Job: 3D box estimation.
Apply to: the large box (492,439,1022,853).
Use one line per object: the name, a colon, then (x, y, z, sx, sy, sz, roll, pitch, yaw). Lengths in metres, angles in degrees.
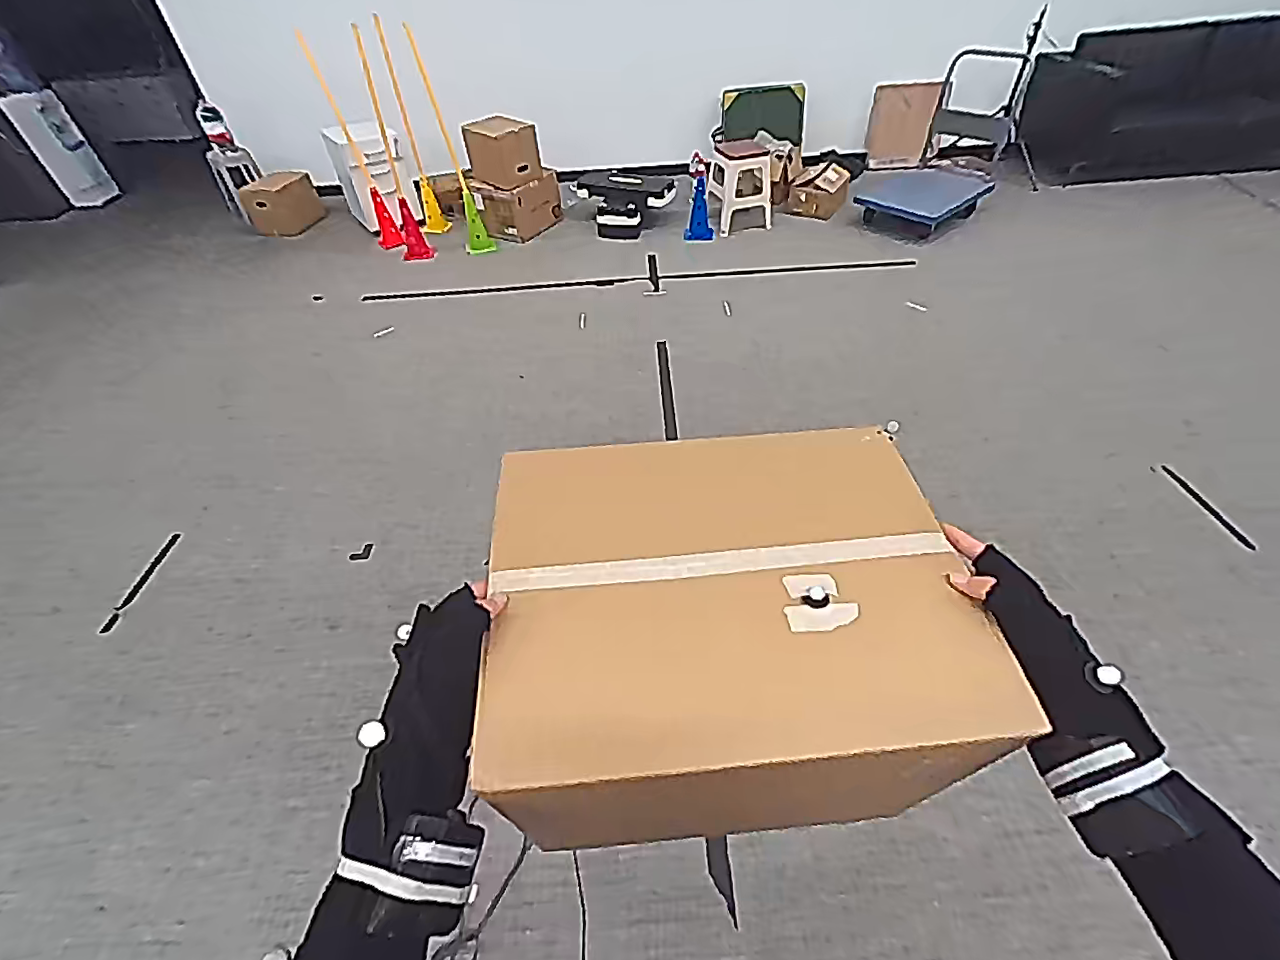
large box: (0.076, 0.184, 0.598, 0.408, 0.320, 0.320, -5, 49, -3)
